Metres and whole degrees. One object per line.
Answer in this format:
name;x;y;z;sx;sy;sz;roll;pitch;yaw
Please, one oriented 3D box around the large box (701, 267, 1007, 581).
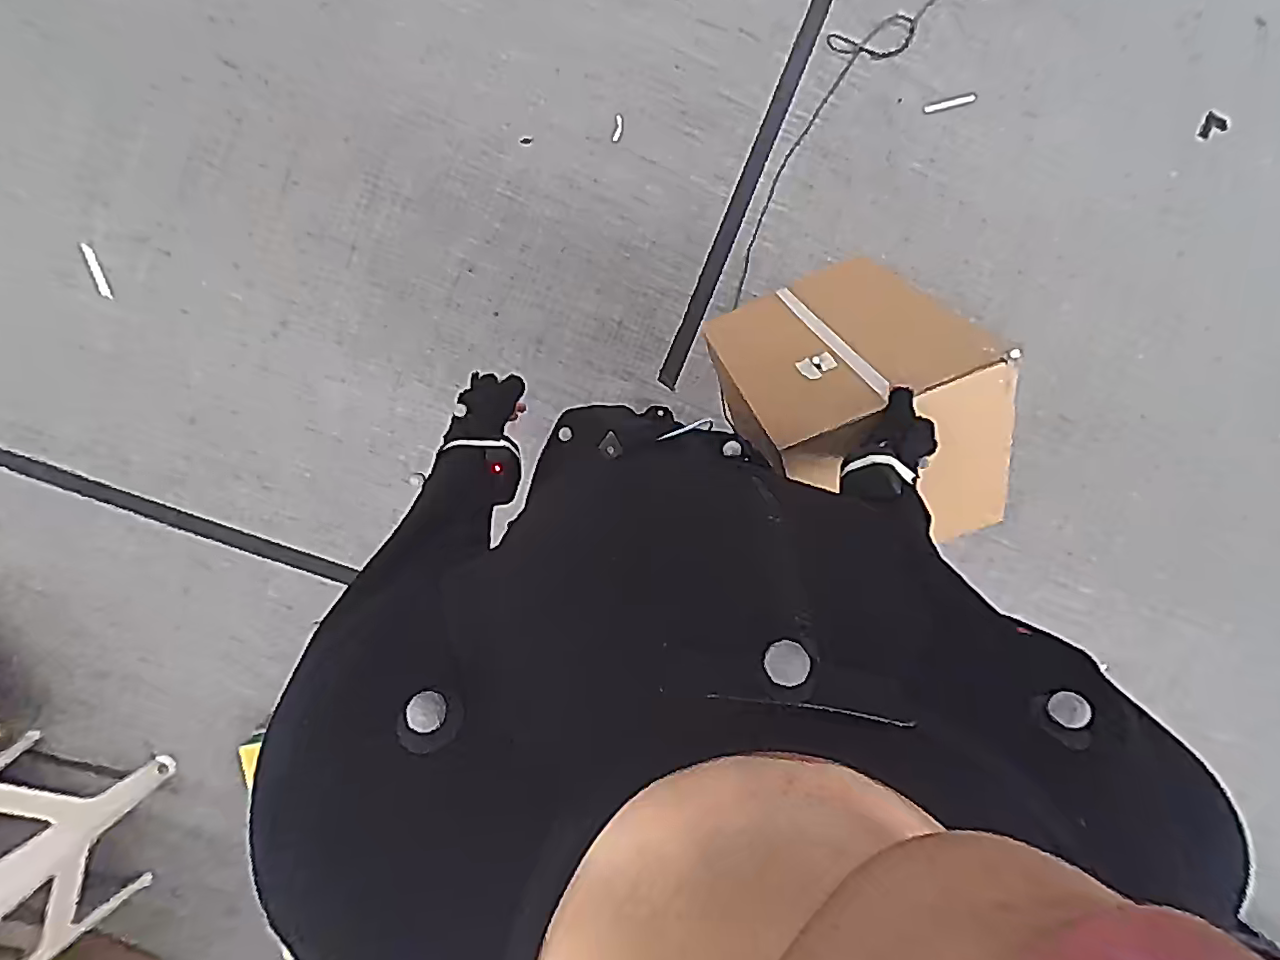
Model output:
large box;0.336;-0.107;0.937;0.320;0.408;0.320;-22;130;6
